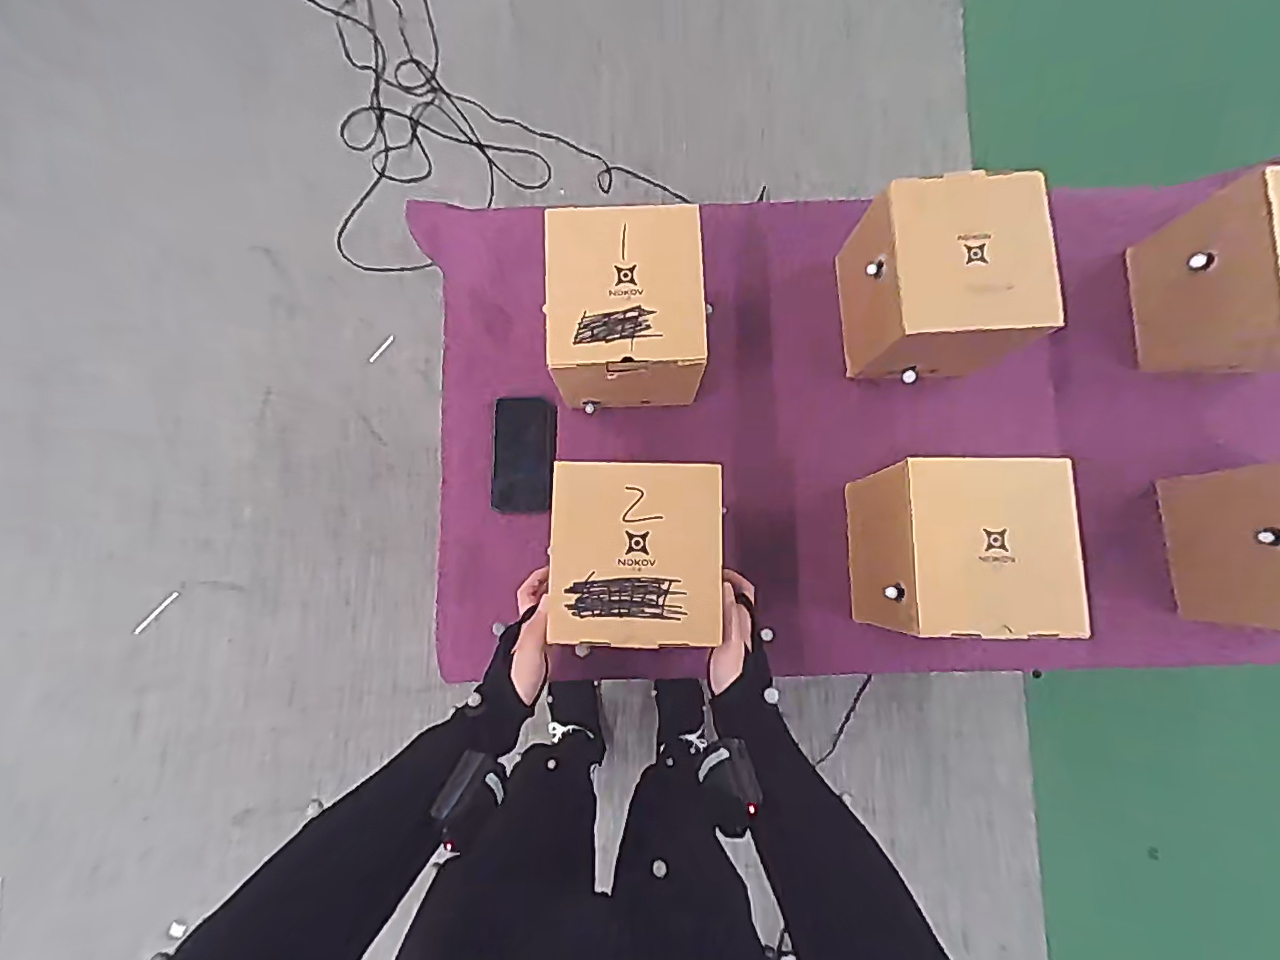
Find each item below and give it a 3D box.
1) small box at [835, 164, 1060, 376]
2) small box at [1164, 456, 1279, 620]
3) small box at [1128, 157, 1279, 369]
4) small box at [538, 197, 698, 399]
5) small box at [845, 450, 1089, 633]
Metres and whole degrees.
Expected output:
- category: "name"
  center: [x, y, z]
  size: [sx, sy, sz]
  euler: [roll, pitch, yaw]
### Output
- category: "small box"
  center: [0.342, -0.235, 0.638]
  size: [0.168, 0.176, 0.179]
  euler: [-2, 83, 1]
- category: "small box"
  center: [0.735, 0.063, 0.592]
  size: [0.168, 0.176, 0.179]
  euler: [-3, 83, 1]
- category: "small box"
  center: [0.730, -0.244, 0.637]
  size: [0.168, 0.176, 0.179]
  euler: [0, 82, 1]
- category: "small box"
  center: [-0.022, -0.197, 0.633]
  size: [0.168, 0.176, 0.179]
  euler: [-2, 82, 0]
- category: "small box"
  center: [0.338, 0.069, 0.597]
  size: [0.168, 0.176, 0.179]
  euler: [0, 81, 0]
